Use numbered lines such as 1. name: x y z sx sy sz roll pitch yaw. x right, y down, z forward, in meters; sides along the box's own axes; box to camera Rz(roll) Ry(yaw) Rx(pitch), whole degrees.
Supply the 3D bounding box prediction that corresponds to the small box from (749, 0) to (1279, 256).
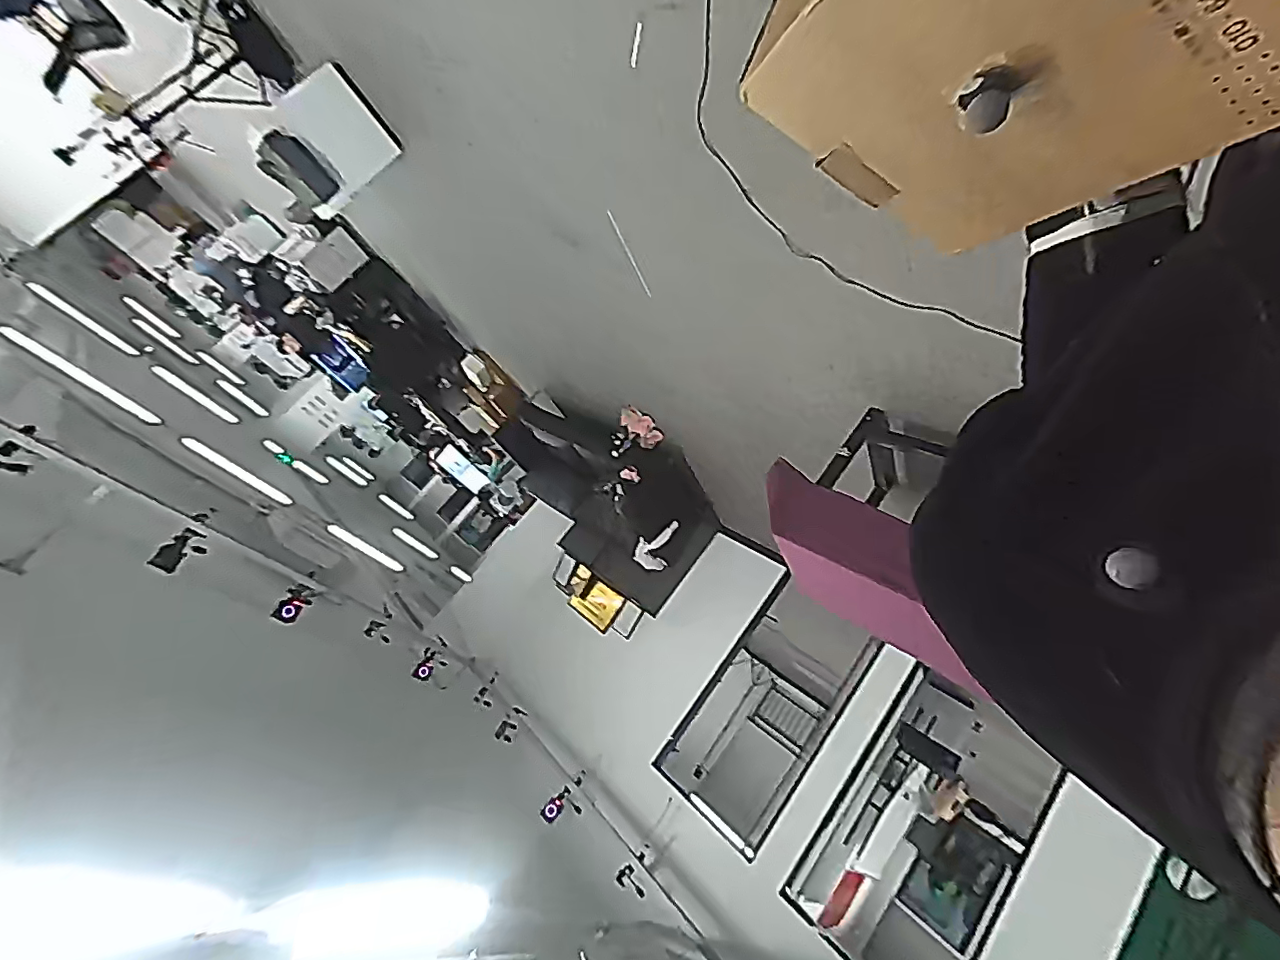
1. small box: 0.185 -0.247 0.250 0.168 0.179 0.176 24 174 -20
